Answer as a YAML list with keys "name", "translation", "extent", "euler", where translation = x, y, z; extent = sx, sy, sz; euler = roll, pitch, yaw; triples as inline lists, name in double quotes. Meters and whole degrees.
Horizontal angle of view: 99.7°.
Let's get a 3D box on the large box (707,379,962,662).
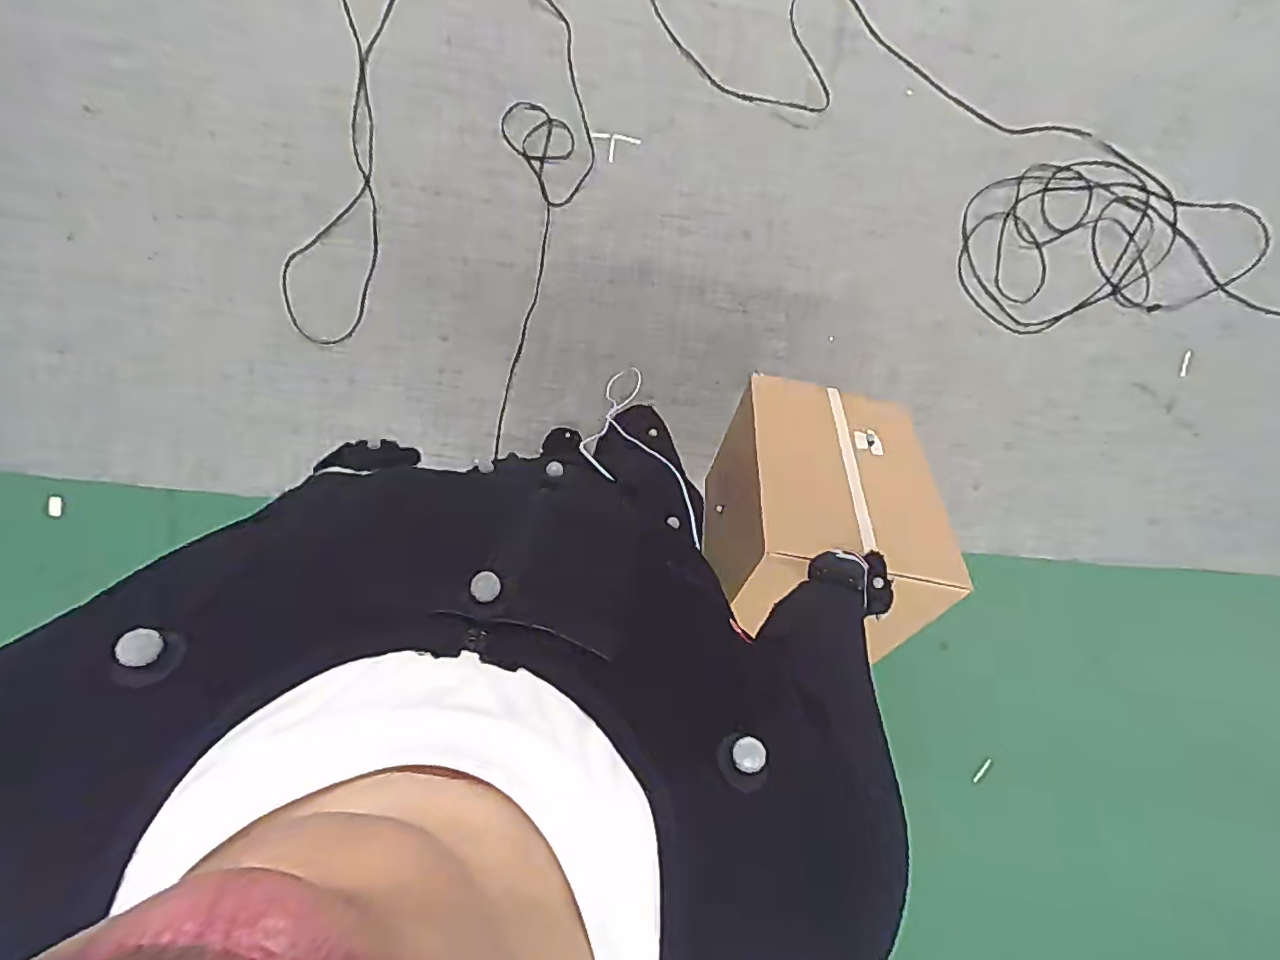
- name: "large box"
  translation: [0.313, 0.078, 1.017]
  extent: [0.320, 0.408, 0.320]
  euler: [12, 138, -6]
